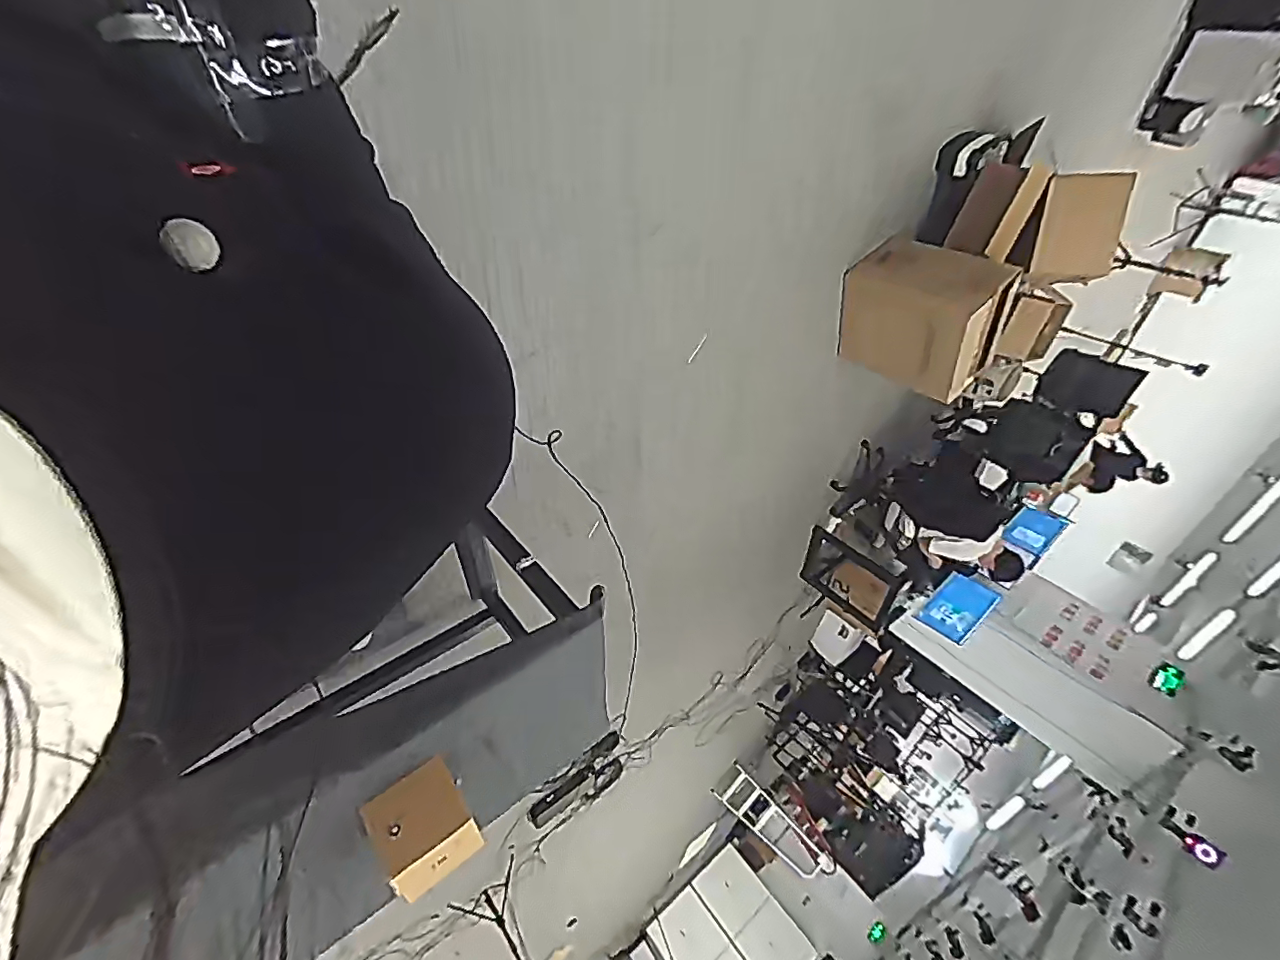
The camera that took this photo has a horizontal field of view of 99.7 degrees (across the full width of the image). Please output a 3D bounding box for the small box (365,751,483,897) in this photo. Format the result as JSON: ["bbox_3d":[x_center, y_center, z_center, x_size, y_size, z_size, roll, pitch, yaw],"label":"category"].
[{"bbox_3d":[-0.468,0.733,1.164,0.179,0.176,0.168,-29,140,-30],"label":"small box"}]
